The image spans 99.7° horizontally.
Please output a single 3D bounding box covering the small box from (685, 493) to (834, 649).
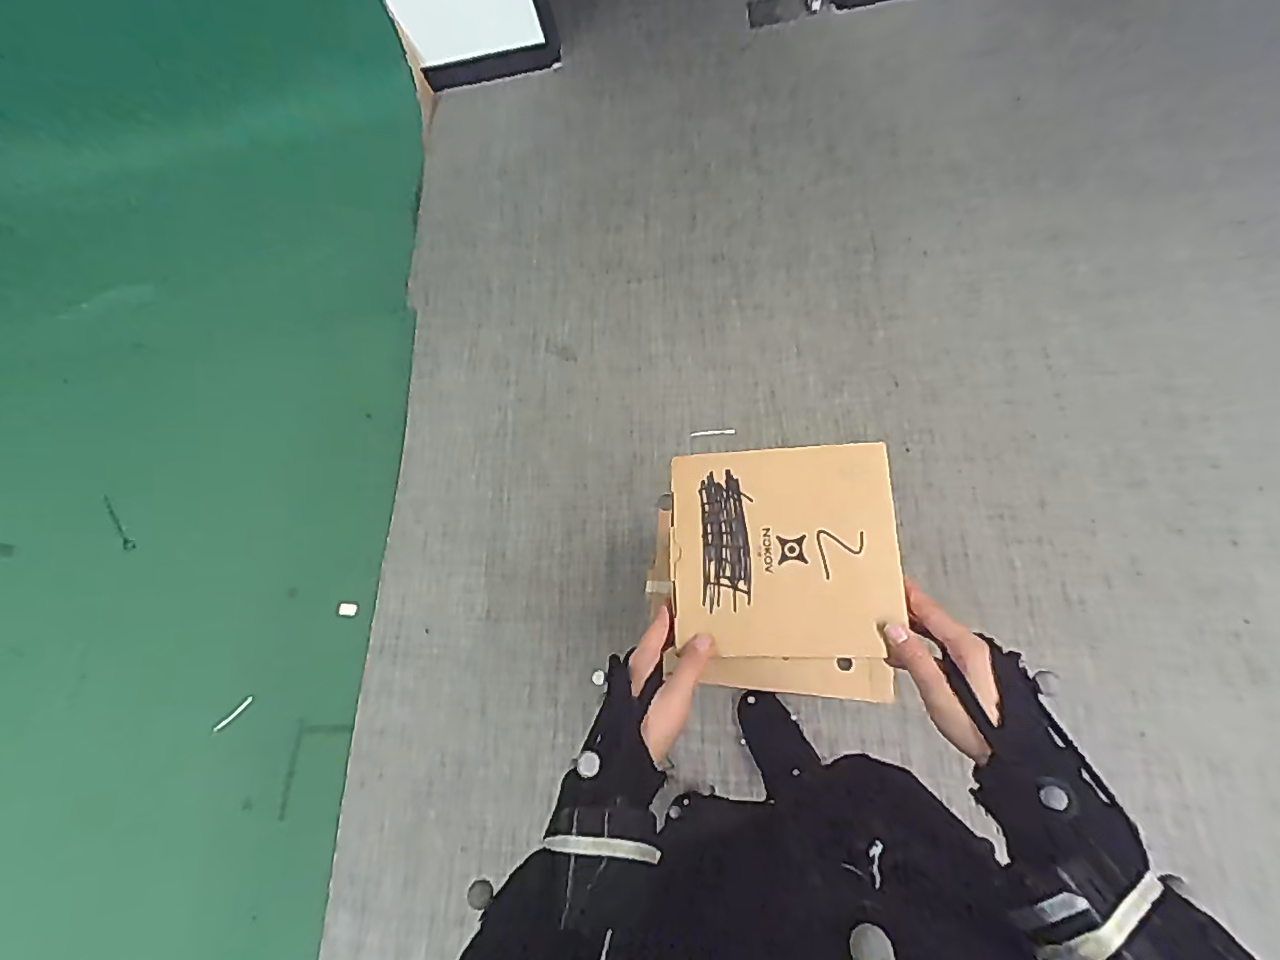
[{"bbox_3d":[0.150,0.124,0.701,0.168,0.176,0.179,0,71,9],"label":"small box"}]

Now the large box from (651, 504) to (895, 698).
[{"bbox_3d":[0.244,0.243,1.077,0.408,0.320,0.320,2,73,10],"label":"large box"}]
